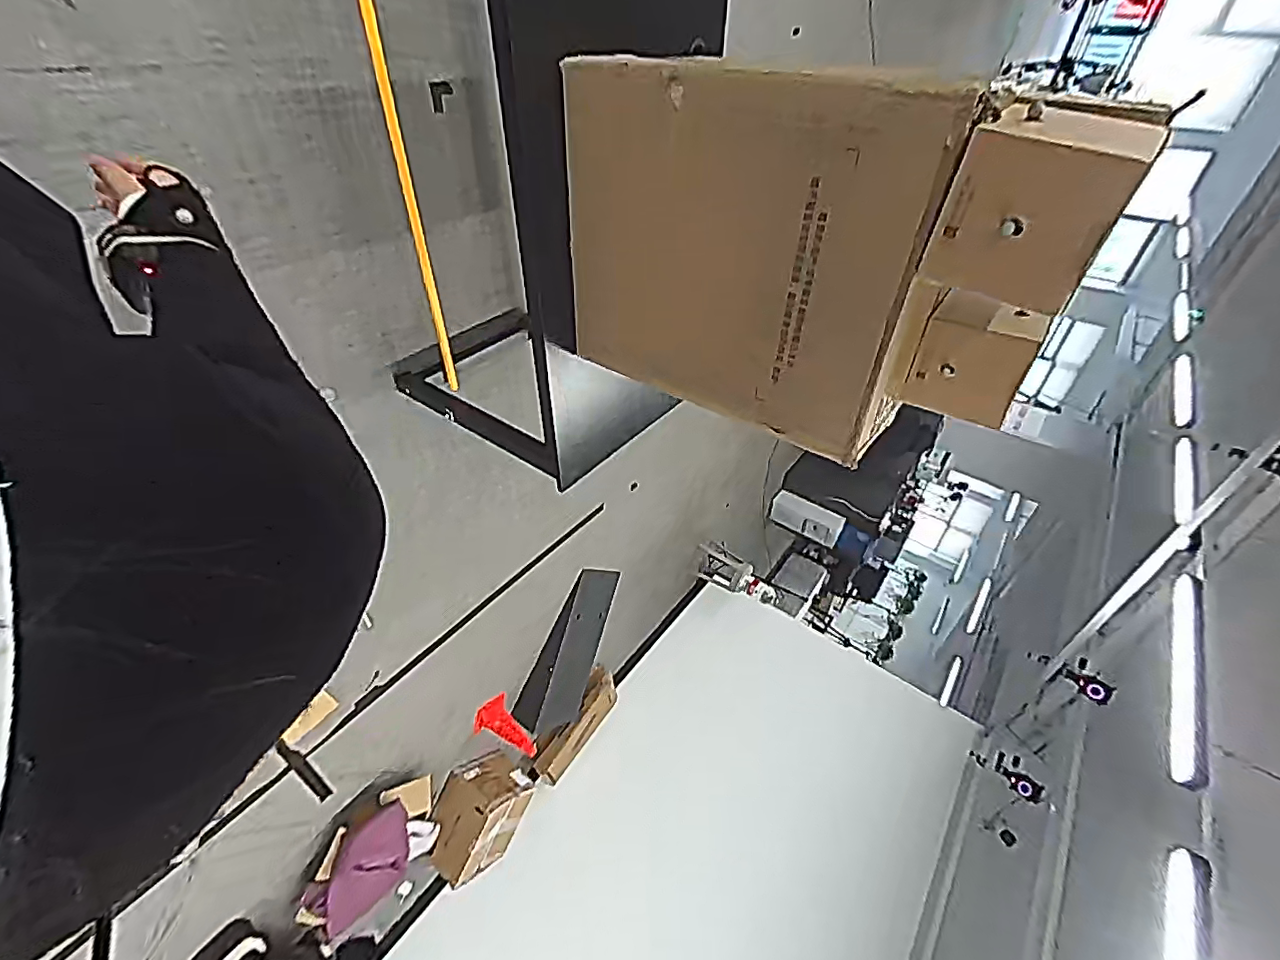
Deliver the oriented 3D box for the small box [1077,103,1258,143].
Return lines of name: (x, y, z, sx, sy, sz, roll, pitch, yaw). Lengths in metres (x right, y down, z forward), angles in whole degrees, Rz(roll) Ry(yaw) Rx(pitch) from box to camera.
small box: (0.668, -0.406, 0.745, 0.168, 0.176, 0.179, -40, 148, -39)

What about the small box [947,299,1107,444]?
small box: (0.666, -0.196, 0.940, 0.179, 0.176, 0.168, -43, 147, -38)

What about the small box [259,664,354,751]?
small box: (-1.077, 0.730, 1.748, 0.168, 0.176, 0.179, -45, 148, -33)

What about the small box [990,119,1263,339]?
small box: (0.544, -0.295, 0.625, 0.179, 0.176, 0.168, -40, 150, -32)
